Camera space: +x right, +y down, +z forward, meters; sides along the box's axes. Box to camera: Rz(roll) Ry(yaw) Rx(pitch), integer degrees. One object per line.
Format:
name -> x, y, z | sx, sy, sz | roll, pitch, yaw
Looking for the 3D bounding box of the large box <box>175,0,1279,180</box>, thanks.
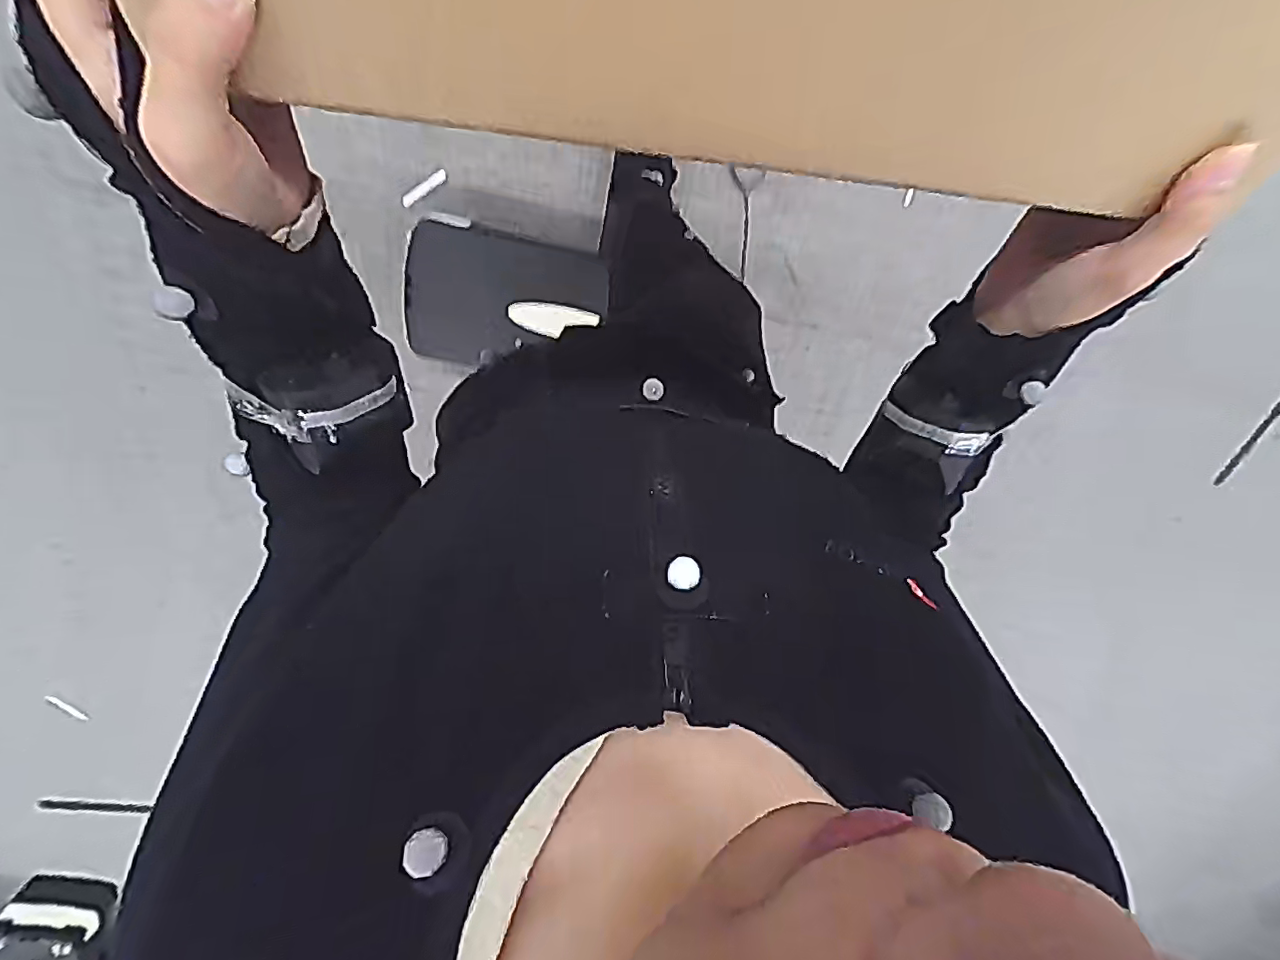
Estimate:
large box -> 0.060, -0.342, 0.177 | 0.408, 0.320, 0.320 | 1, 142, -10
